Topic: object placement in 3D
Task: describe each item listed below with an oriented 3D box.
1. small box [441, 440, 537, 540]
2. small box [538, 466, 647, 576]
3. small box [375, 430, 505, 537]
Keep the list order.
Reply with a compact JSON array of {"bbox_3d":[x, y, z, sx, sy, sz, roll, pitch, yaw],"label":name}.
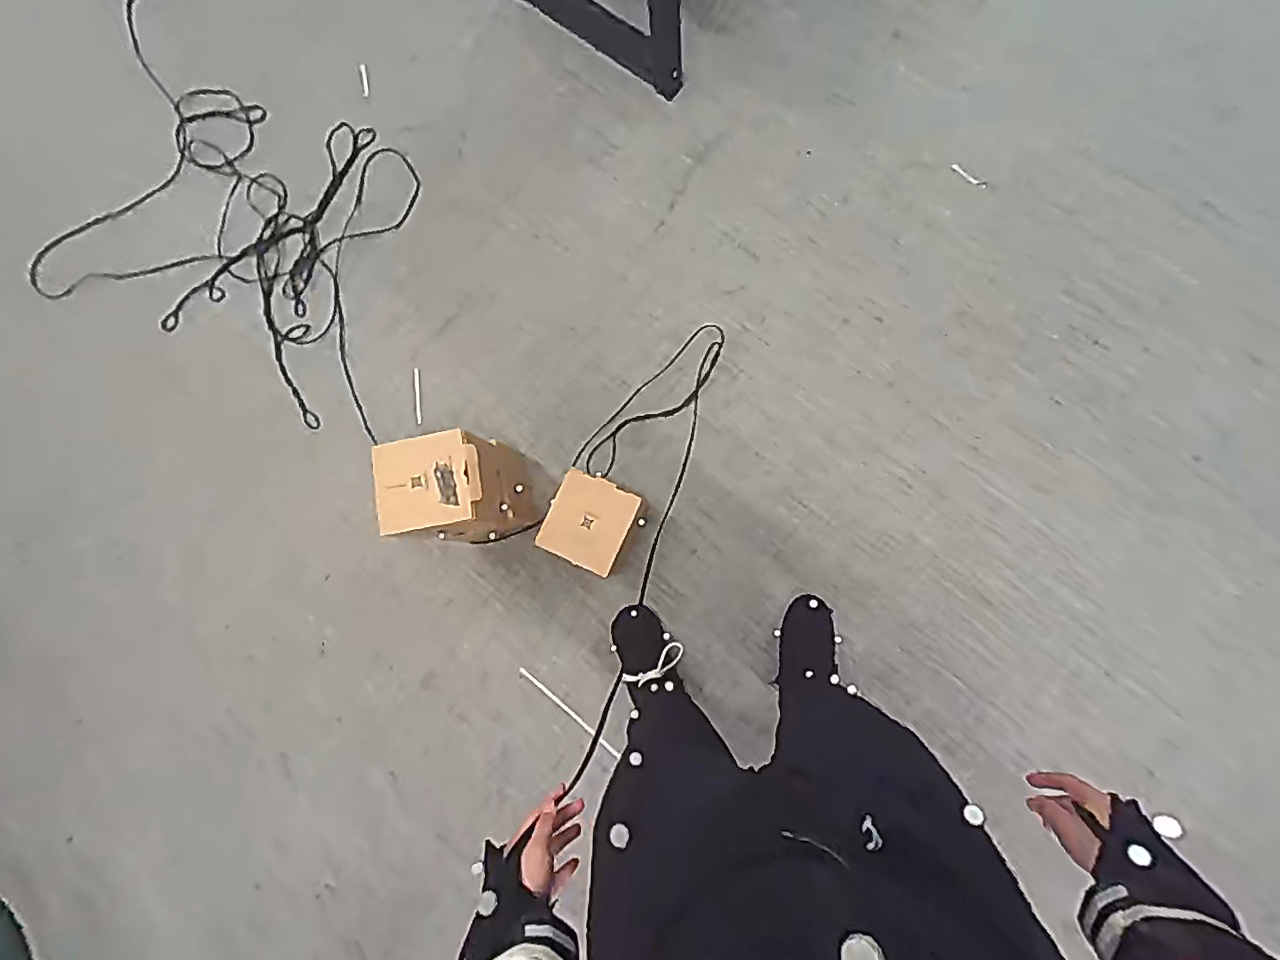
[{"bbox_3d":[-0.341,0.027,1.188,0.168,0.176,0.179,-15,82,4],"label":"small box"},{"bbox_3d":[-0.091,0.090,1.157,0.168,0.176,0.179,24,86,9],"label":"small box"},{"bbox_3d":[-0.368,0.013,1.025,0.179,0.176,0.168,-10,81,5],"label":"small box"}]
